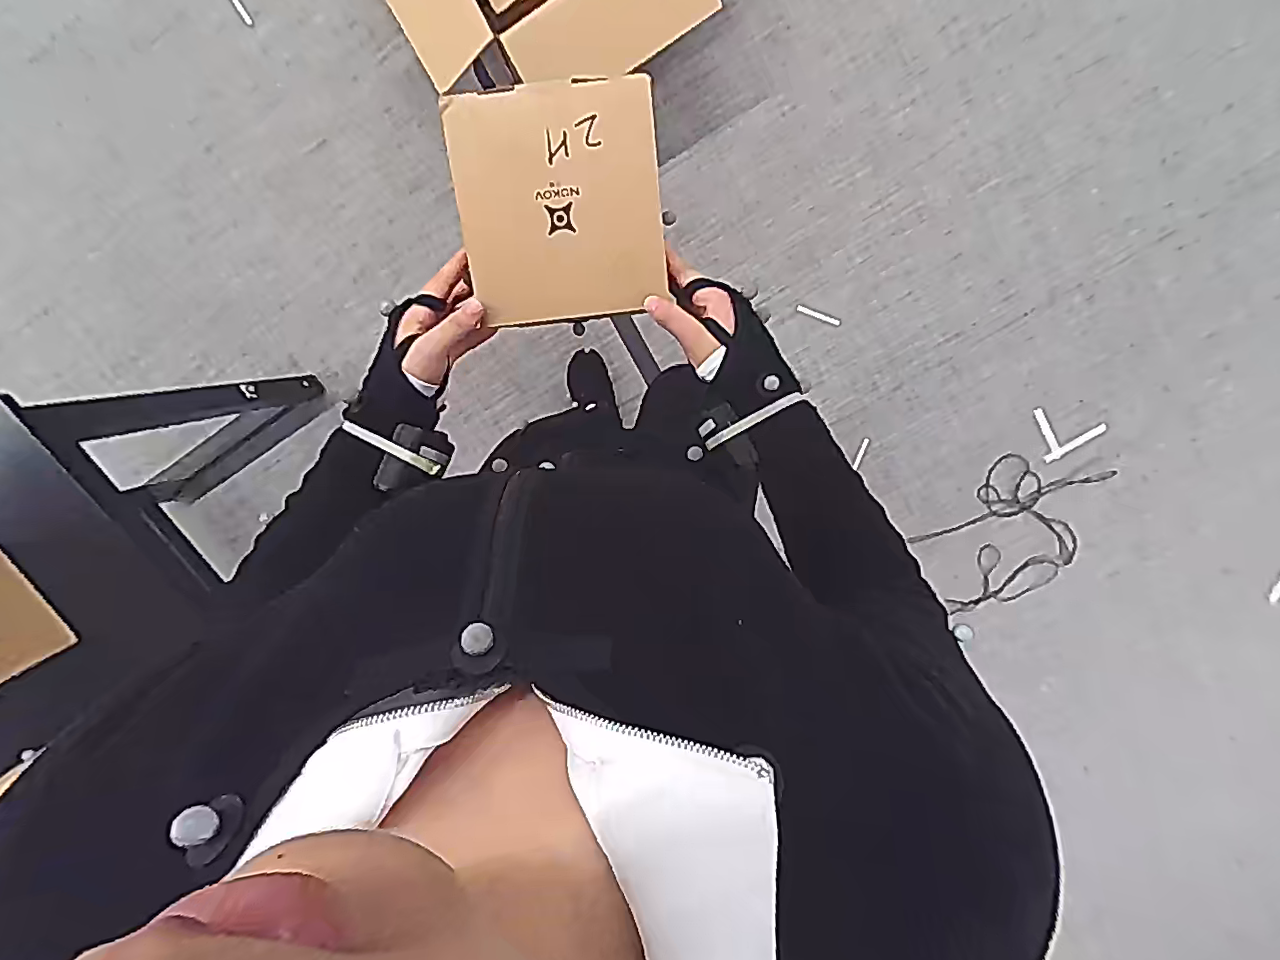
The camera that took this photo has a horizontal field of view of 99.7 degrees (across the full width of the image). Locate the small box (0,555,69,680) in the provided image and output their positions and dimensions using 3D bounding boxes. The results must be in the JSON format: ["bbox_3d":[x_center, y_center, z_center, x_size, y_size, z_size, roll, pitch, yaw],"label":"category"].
[{"bbox_3d":[-0.950,0.217,0.719,0.168,0.176,0.179,-27,104,7],"label":"small box"}]

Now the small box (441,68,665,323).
[{"bbox_3d":[-0.066,-0.248,0.513,0.168,0.176,0.179,-6,106,0],"label":"small box"}]
